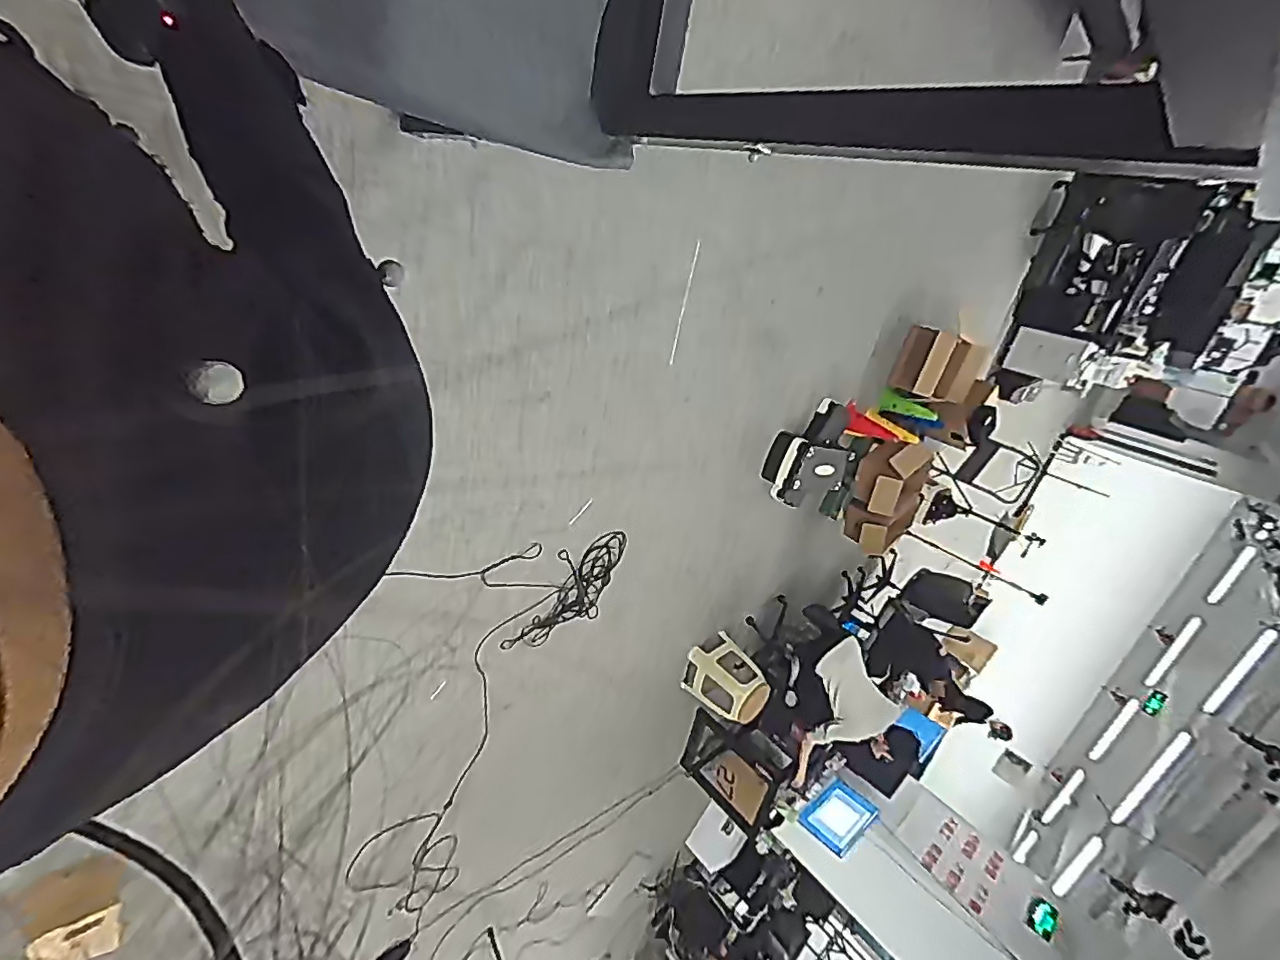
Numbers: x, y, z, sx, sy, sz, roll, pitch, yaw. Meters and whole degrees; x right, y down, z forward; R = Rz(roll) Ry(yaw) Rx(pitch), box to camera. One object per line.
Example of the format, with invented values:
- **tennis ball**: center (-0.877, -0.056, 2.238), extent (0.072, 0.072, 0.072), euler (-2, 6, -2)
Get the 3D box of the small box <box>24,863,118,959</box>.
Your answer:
- **small box**: center (-1.500, 1.161, 1.426), extent (0.168, 0.176, 0.179), euler (1, 115, -46)
